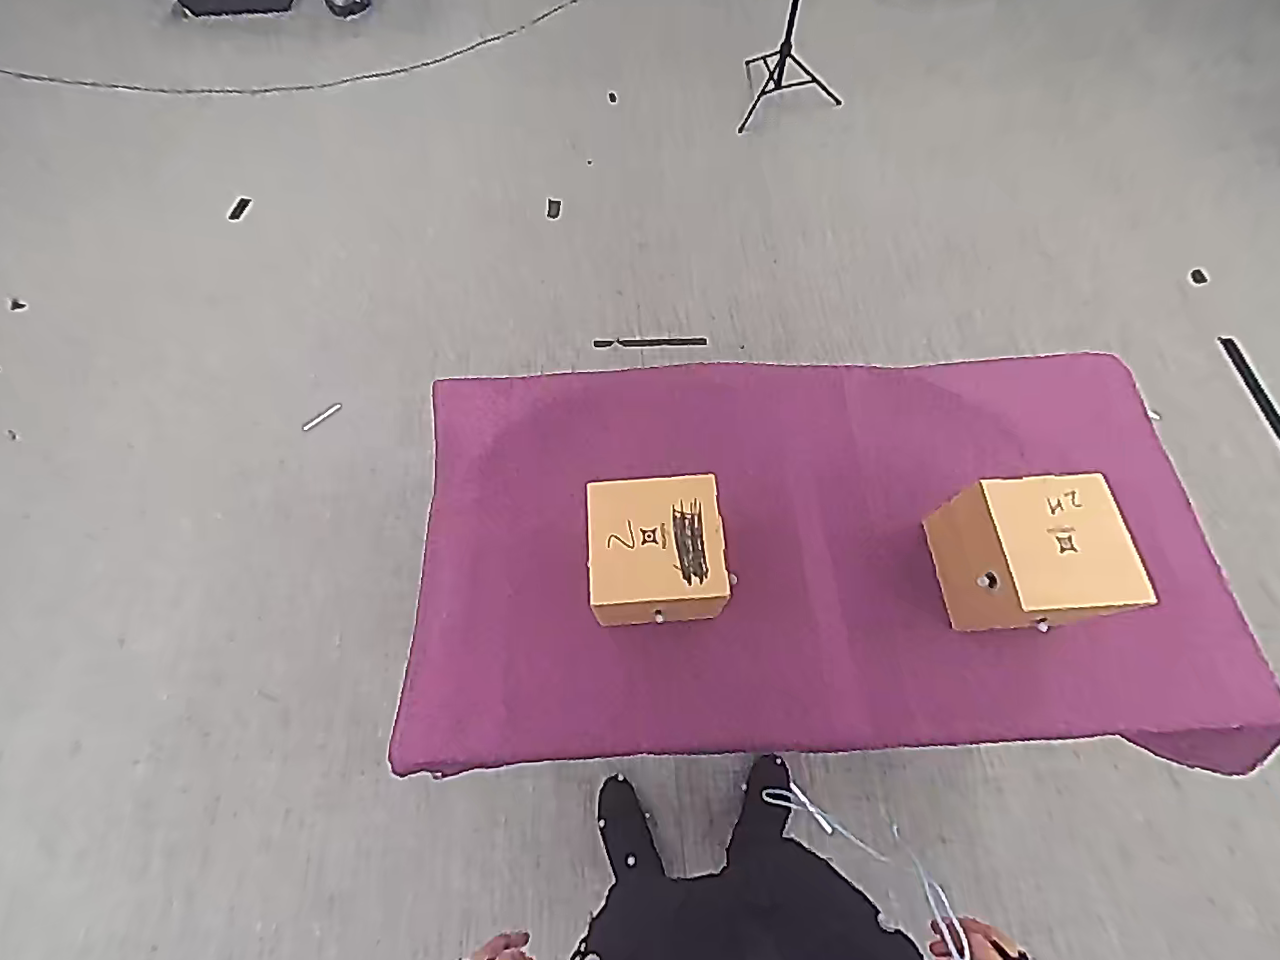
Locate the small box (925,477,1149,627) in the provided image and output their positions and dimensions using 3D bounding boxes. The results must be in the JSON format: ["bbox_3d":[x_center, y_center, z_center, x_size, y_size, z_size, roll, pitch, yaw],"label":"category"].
[{"bbox_3d":[0.536,0.110,0.762,0.168,0.176,0.179,-3,66,0],"label":"small box"}]
